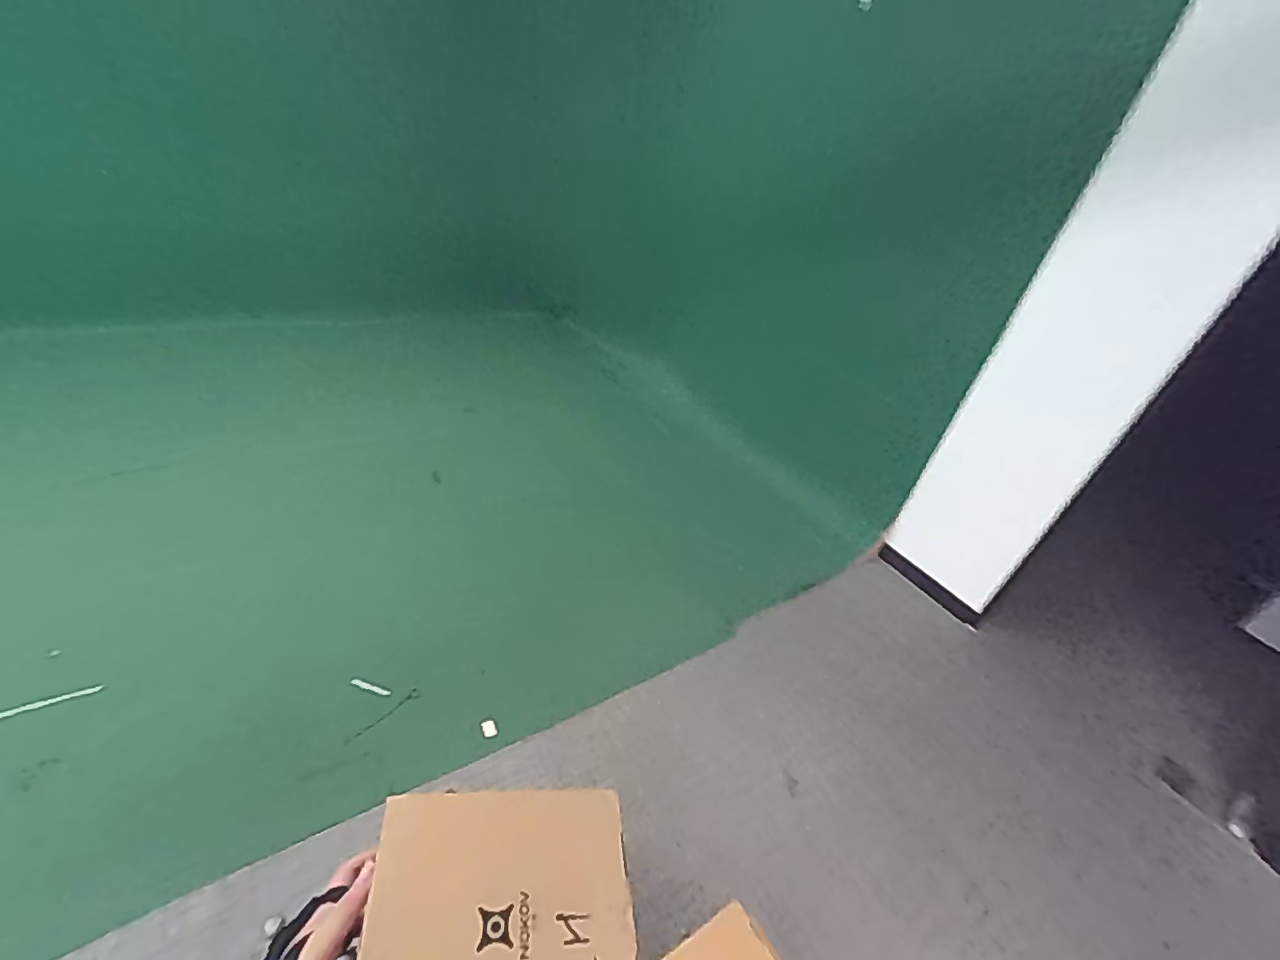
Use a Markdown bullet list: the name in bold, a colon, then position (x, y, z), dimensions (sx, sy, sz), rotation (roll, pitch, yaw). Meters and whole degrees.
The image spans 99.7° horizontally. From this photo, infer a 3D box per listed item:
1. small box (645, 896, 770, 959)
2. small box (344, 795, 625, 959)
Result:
- **small box**: position (0.090, 0.734, 0.744), dimensions (0.179, 0.176, 0.168), rotation (-13, 44, -30)
- **small box**: position (-0.120, 0.352, 0.394), dimensions (0.179, 0.176, 0.168), rotation (11, 38, -20)
